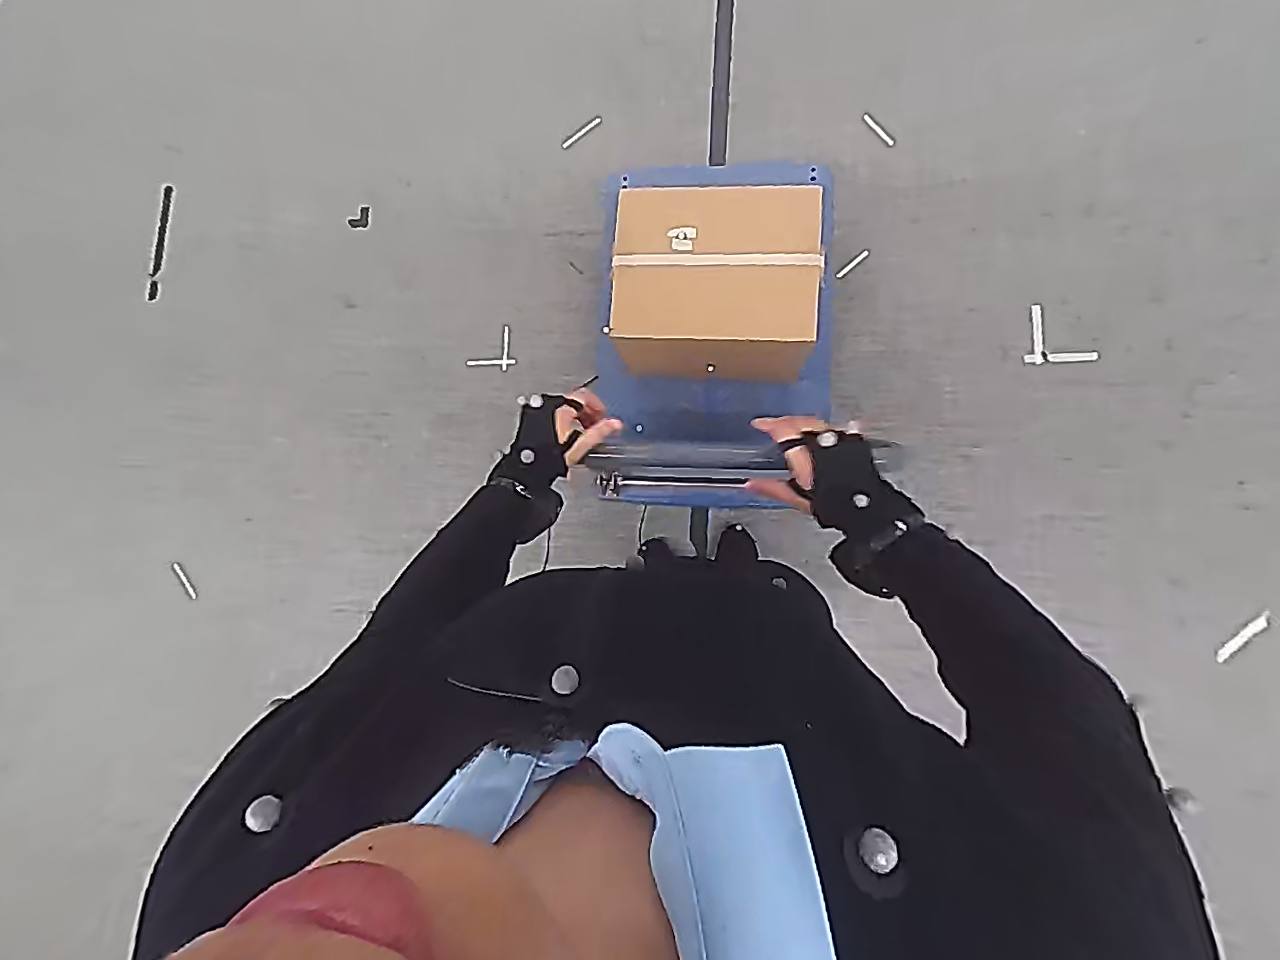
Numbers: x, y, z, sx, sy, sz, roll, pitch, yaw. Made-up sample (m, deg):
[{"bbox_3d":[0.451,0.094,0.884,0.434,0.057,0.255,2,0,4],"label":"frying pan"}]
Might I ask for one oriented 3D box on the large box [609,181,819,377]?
[{"bbox_3d":[0.165,-0.416,1.198,0.408,0.320,0.320,3,85,9],"label":"large box"}]
